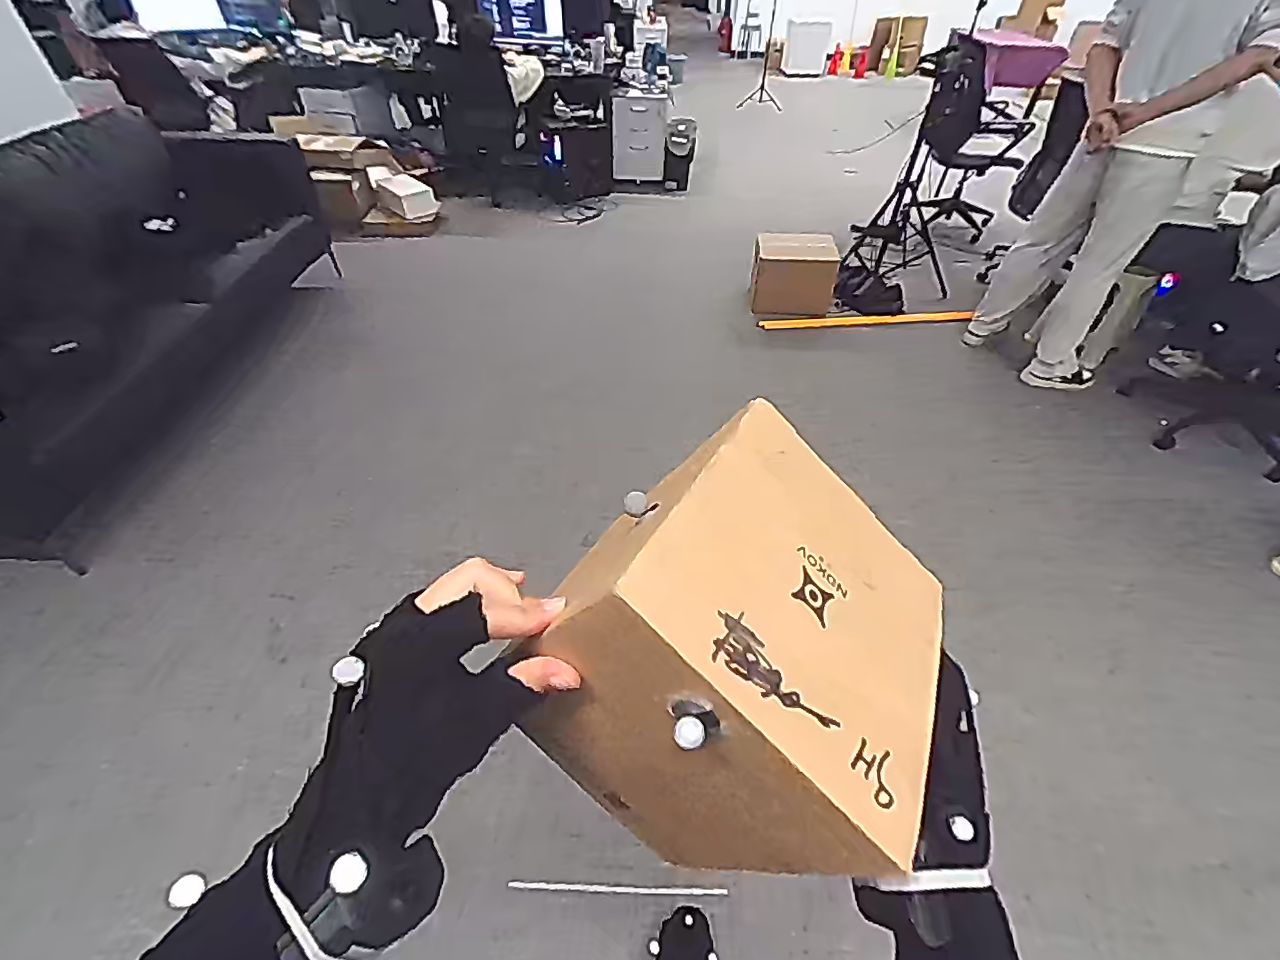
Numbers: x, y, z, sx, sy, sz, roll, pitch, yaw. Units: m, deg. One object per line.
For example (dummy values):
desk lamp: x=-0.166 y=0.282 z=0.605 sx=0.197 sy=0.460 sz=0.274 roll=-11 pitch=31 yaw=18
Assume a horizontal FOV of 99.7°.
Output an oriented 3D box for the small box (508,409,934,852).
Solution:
small box: x=0.049 y=0.093 z=0.337 sx=0.168 sy=0.176 sz=0.179 roll=44 pitch=44 yaw=-2
